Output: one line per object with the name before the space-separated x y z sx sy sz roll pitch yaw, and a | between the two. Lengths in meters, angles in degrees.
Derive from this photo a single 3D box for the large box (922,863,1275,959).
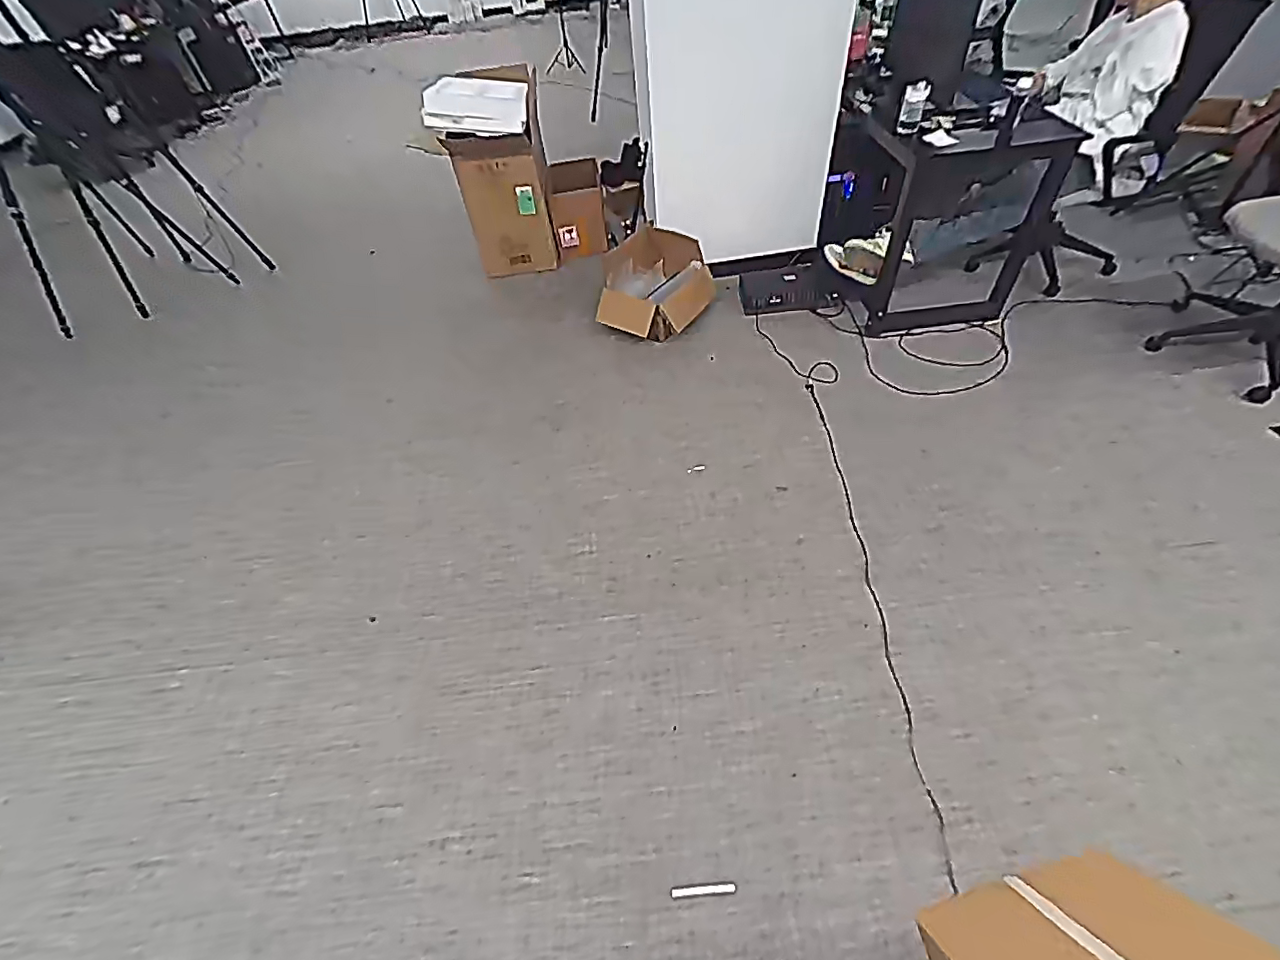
large box | 0.599 0.717 0.585 0.320 0.408 0.320 -16 80 -3
